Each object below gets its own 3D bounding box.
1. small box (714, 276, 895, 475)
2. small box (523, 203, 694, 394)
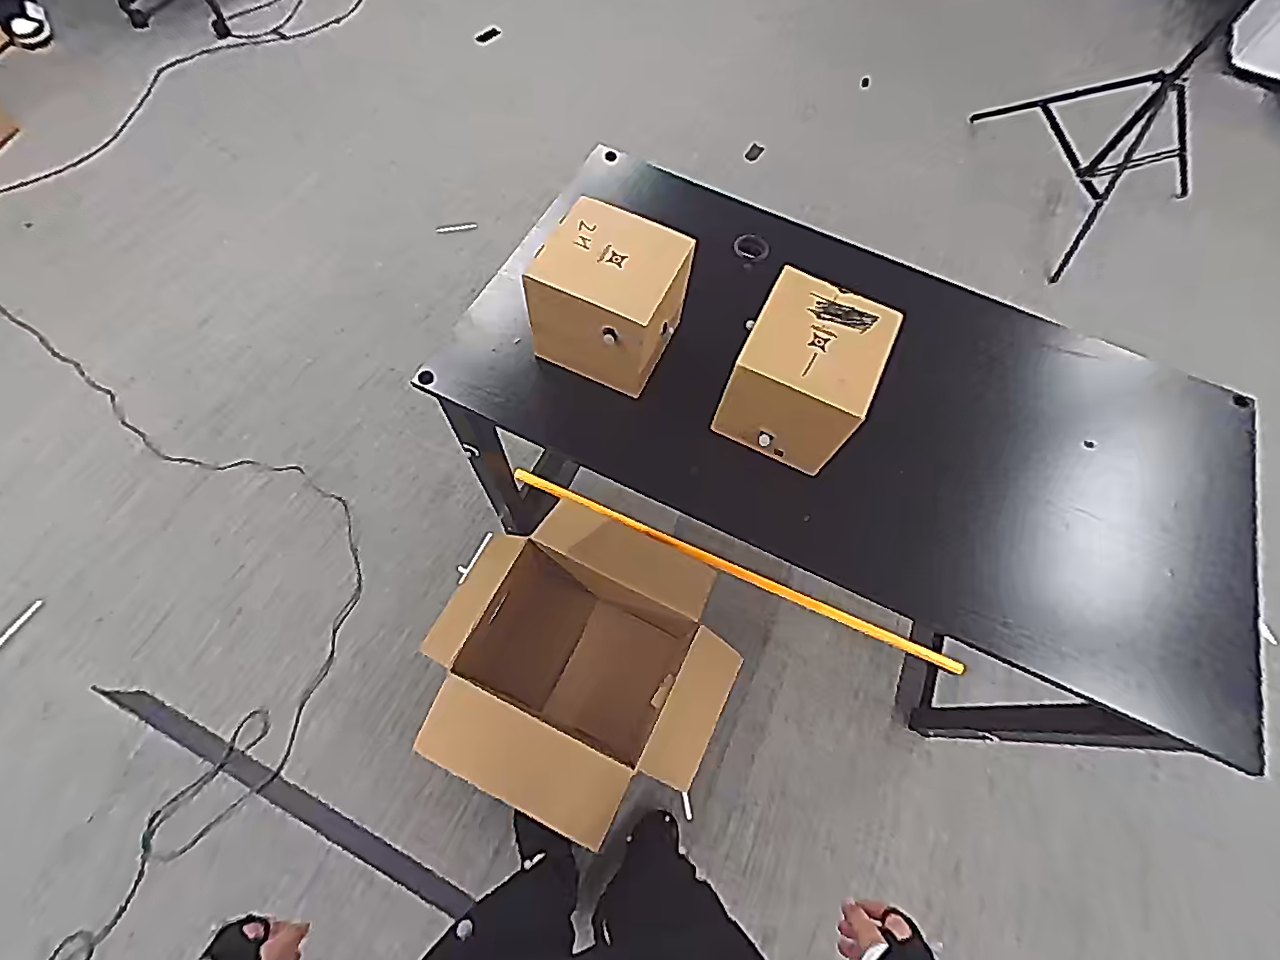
[{"bbox_3d":[0.217,-0.137,0.750,0.168,0.176,0.179,26,67,7],"label":"small box"},{"bbox_3d":[-0.044,-0.250,0.778,0.179,0.176,0.168,24,66,6],"label":"small box"}]
